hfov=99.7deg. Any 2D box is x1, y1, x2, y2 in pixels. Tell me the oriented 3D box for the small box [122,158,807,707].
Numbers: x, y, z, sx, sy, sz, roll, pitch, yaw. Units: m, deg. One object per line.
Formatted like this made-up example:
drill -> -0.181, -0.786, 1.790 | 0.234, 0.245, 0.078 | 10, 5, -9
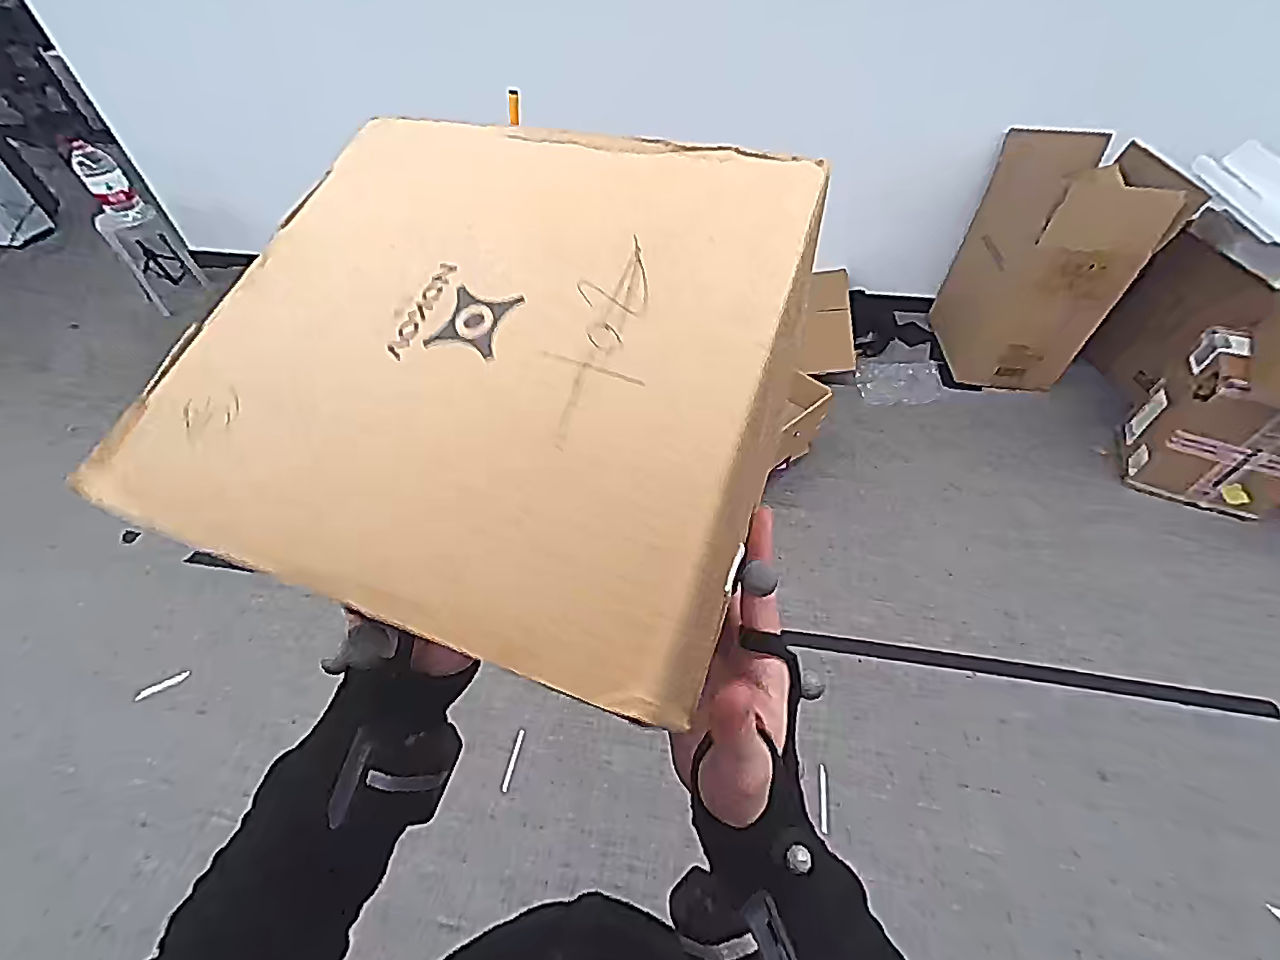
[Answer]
small box -> -0.041, -0.005, 0.243 | 0.179, 0.176, 0.168 | 14, 69, 13
